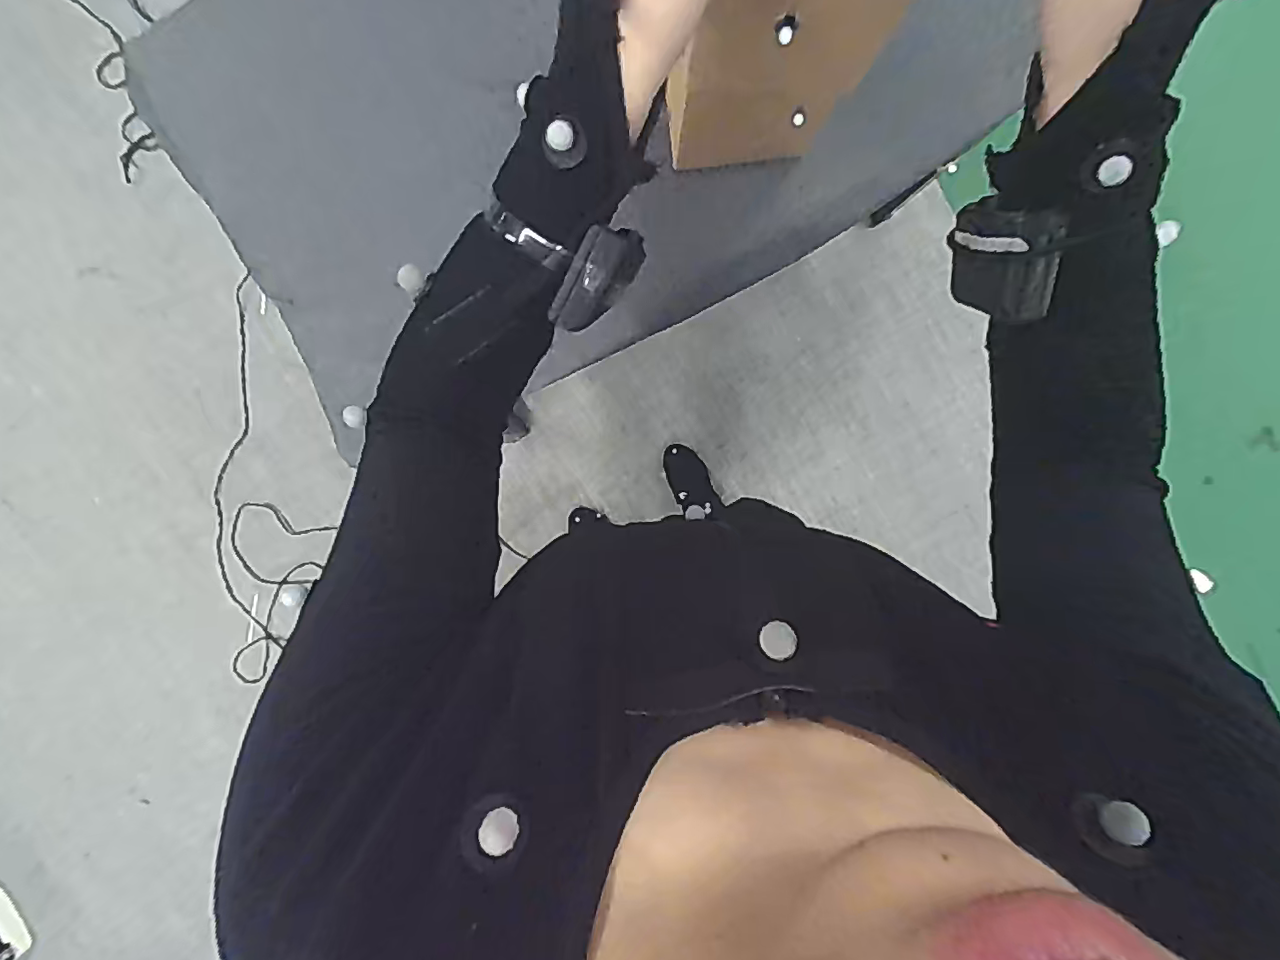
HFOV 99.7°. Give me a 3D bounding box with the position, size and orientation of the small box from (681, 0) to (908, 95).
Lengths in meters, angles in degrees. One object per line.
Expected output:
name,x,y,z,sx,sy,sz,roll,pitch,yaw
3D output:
small box,0.132,-0.465,0.462,0.179,0.176,0.168,1,94,0
